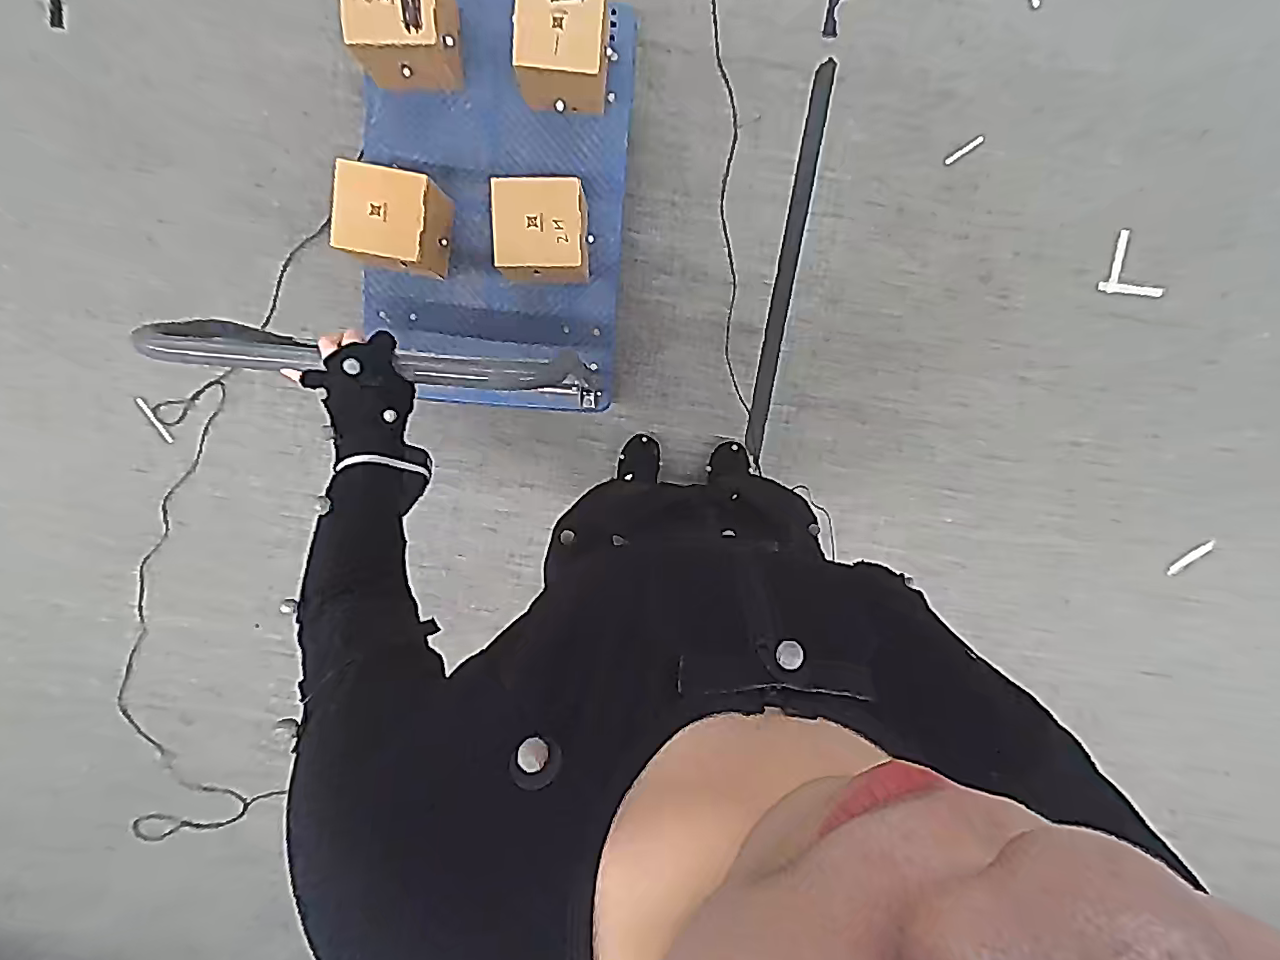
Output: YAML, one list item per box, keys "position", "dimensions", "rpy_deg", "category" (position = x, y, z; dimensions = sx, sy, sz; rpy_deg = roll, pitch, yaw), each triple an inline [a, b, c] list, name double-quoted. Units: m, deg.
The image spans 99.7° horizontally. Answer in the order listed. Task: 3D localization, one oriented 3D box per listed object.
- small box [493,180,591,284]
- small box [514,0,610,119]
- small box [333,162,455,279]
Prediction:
- position: [-0.200, -0.512, 1.137]
  dimensions: [0.179, 0.176, 0.168]
  rpy_deg: [0, 100, -1]
  category: "small box"
- position: [-0.149, -0.865, 1.079]
  dimensions: [0.168, 0.176, 0.179]
  rpy_deg: [5, 100, -2]
  category: "small box"
- position: [-0.507, -0.531, 1.131]
  dimensions: [0.179, 0.176, 0.168]
  rpy_deg: [8, 99, -4]
  category: "small box"
